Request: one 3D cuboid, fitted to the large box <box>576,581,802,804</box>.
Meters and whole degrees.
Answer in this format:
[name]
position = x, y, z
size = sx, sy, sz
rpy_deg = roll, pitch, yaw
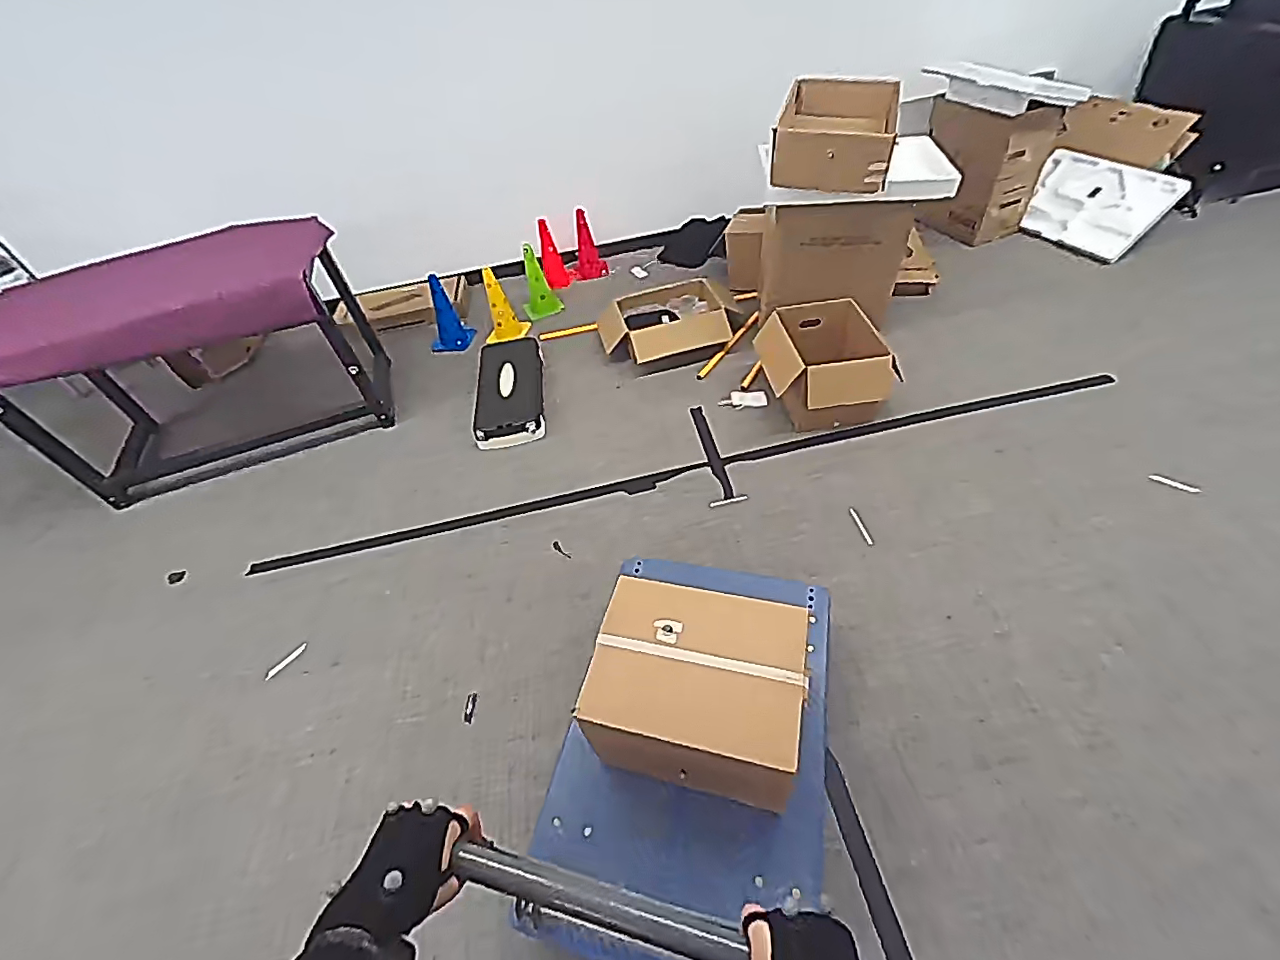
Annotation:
[large box]
position = 0.127, 0.454, 1.166
size = 0.408, 0.320, 0.320
rpy_deg = 6, 48, 16
